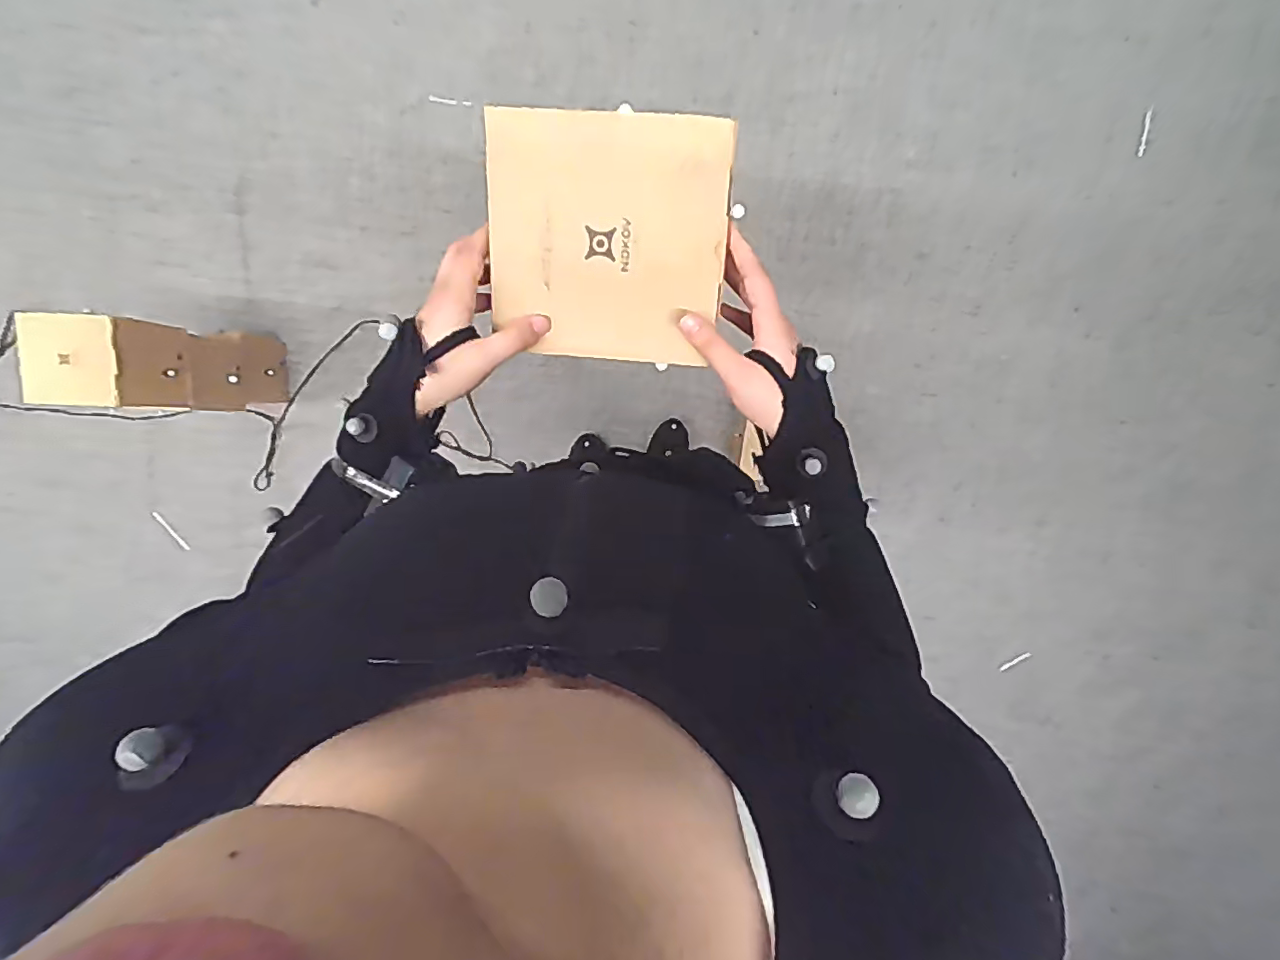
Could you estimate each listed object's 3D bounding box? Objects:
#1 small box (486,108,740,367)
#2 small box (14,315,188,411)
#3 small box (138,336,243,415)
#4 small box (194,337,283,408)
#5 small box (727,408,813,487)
[{"bbox_3d":[-0.016,-0.196,0.464,0.179,0.176,0.168,5,108,5],"label":"small box"},{"bbox_3d":[-1.041,-0.222,1.058,0.179,0.176,0.168,1,97,0],"label":"small box"},{"bbox_3d":[-1.044,-0.235,1.220,0.179,0.176,0.168,3,97,0],"label":"small box"},{"bbox_3d":[-1.045,-0.272,1.381,0.179,0.176,0.168,-1,96,1],"label":"small box"},{"bbox_3d":[0.325,-0.086,1.385,0.168,0.176,0.179,8,96,0],"label":"small box"}]
